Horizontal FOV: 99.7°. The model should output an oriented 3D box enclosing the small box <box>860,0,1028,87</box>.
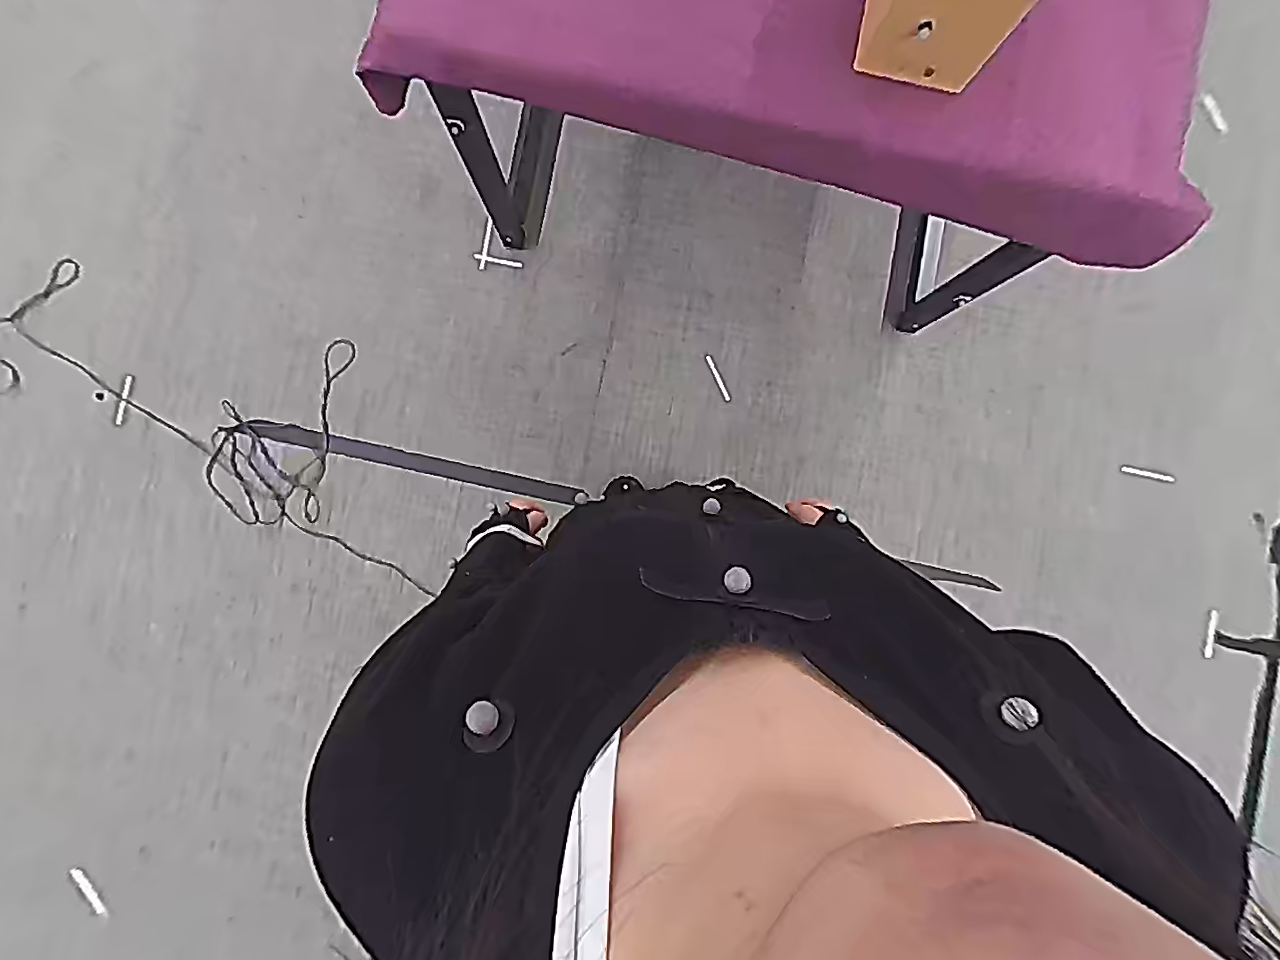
[{"bbox_3d":[0.419,-0.683,0.731,0.168,0.176,0.179,12,88,-1],"label":"small box"}]
